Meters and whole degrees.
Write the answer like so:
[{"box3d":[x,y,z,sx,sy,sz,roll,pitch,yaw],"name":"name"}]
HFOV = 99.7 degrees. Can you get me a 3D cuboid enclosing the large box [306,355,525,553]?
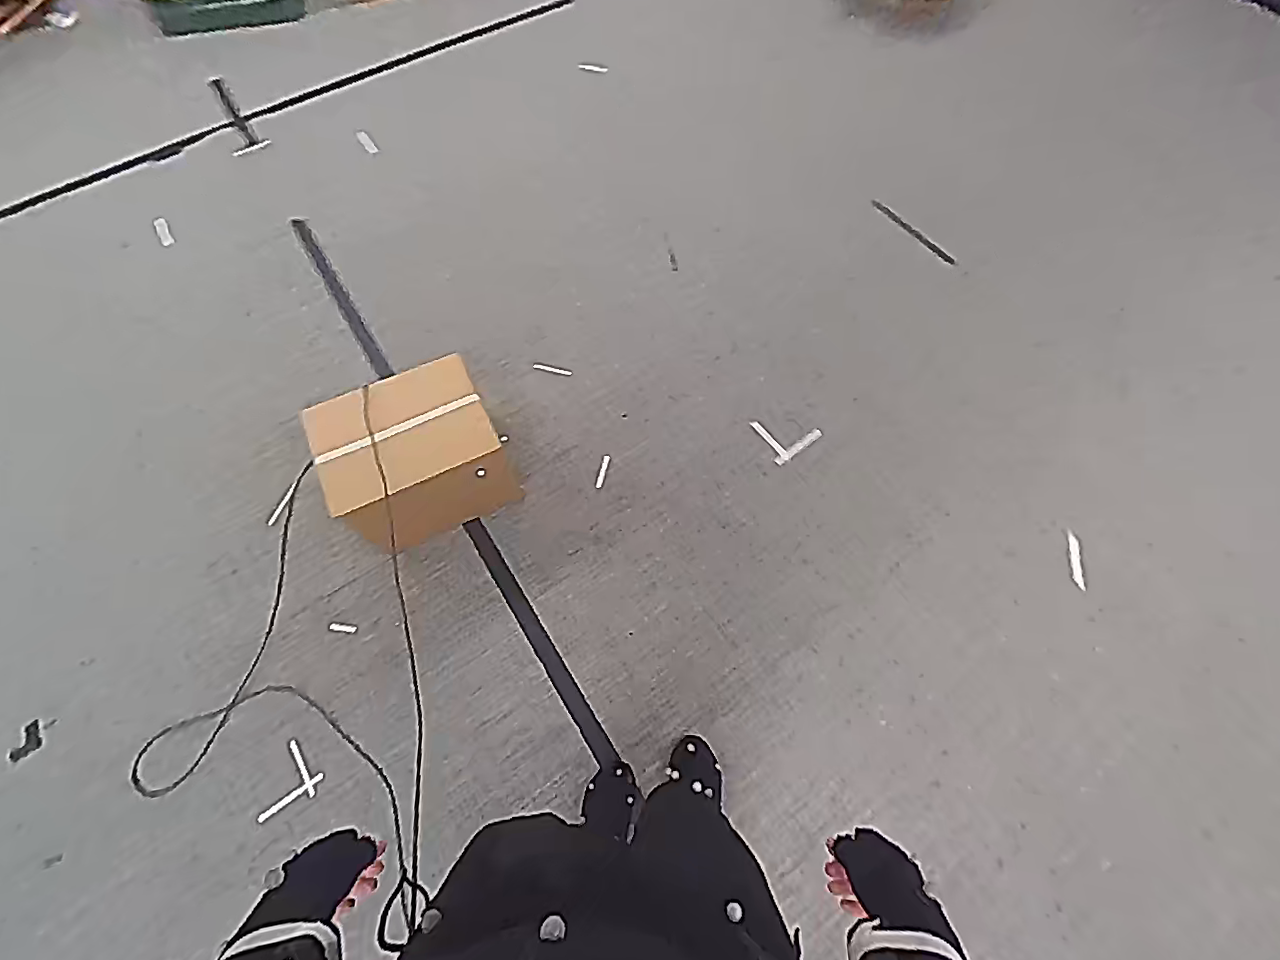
[{"box3d":[-0.566,-0.059,1.426,0.408,0.320,0.320,-24,69,-11],"name":"large box"}]
